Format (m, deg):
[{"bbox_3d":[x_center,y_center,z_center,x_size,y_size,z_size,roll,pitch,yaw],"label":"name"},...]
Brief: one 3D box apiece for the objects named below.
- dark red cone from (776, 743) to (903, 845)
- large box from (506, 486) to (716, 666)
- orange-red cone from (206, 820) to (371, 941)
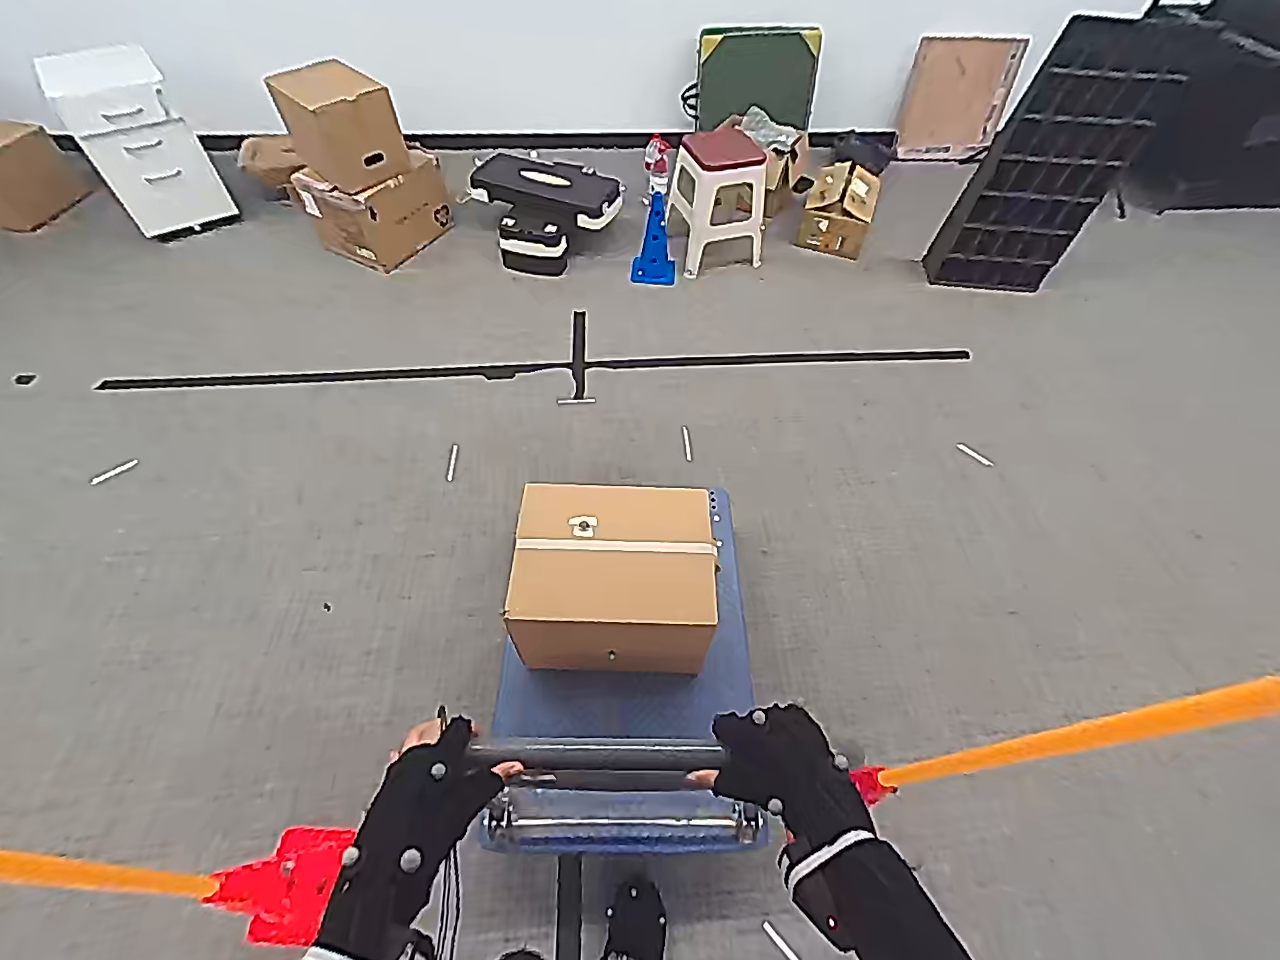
[{"bbox_3d":[0.435,0.624,1.114,0.201,0.394,0.202,-1,54,-5],"label":"dark red cone"},{"bbox_3d":[-0.055,0.226,1.227,0.408,0.320,0.320,2,54,0],"label":"large box"},{"bbox_3d":[-0.689,0.740,1.010,0.198,0.360,0.199,5,52,0],"label":"orange-red cone"}]
